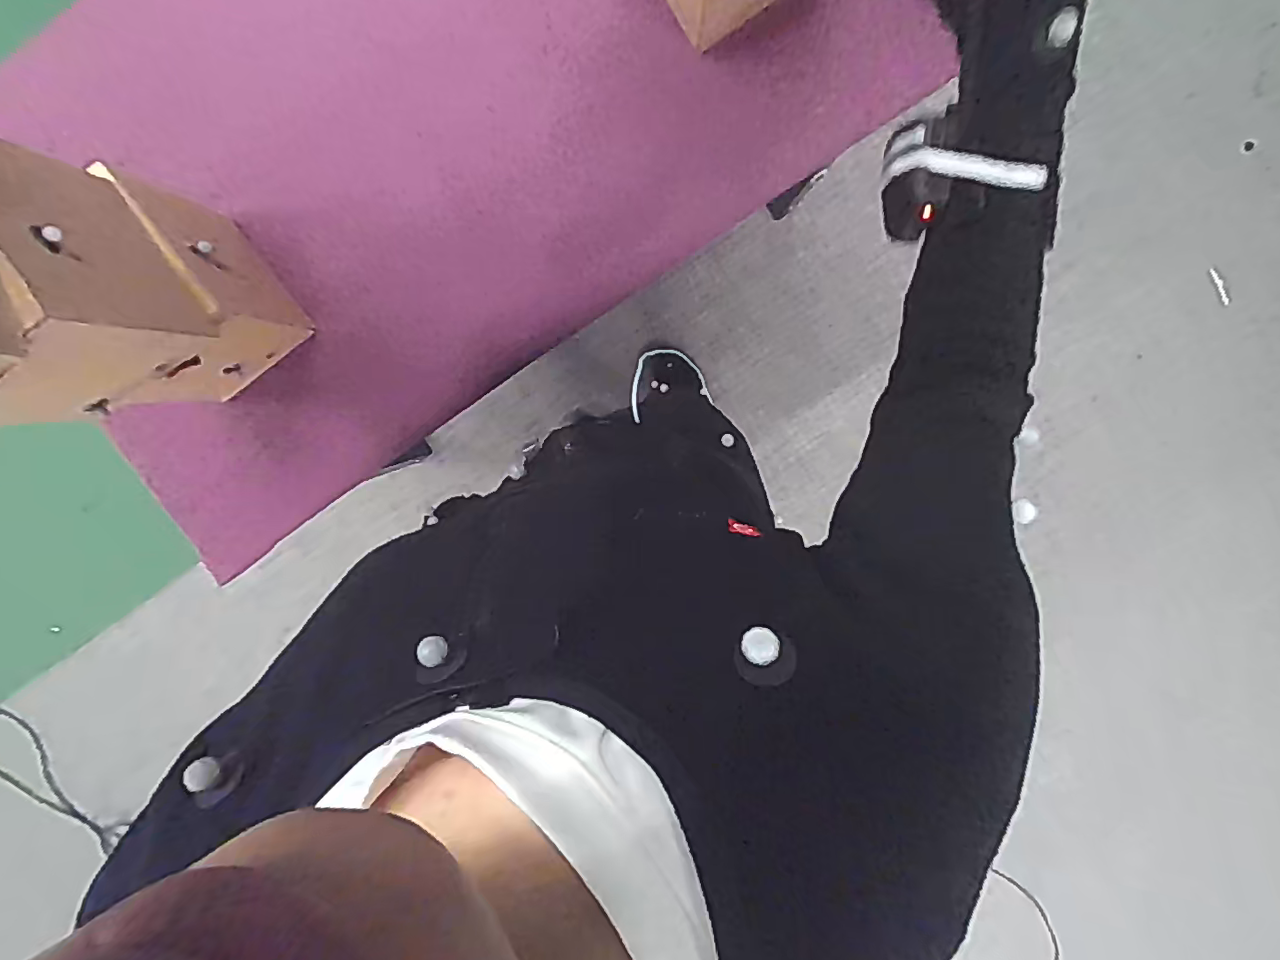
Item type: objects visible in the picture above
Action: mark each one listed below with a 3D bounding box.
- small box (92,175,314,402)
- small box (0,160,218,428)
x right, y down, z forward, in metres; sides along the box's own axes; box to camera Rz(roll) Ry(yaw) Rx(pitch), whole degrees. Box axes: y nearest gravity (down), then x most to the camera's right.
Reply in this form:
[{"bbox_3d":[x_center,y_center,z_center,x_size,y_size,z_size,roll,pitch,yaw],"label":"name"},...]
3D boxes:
[{"bbox_3d":[-0.539,-0.204,0.633,0.168,0.176,0.179,-35,99,5],"label":"small box"},{"bbox_3d":[-0.537,-0.158,0.475,0.168,0.176,0.179,-30,98,4],"label":"small box"}]
